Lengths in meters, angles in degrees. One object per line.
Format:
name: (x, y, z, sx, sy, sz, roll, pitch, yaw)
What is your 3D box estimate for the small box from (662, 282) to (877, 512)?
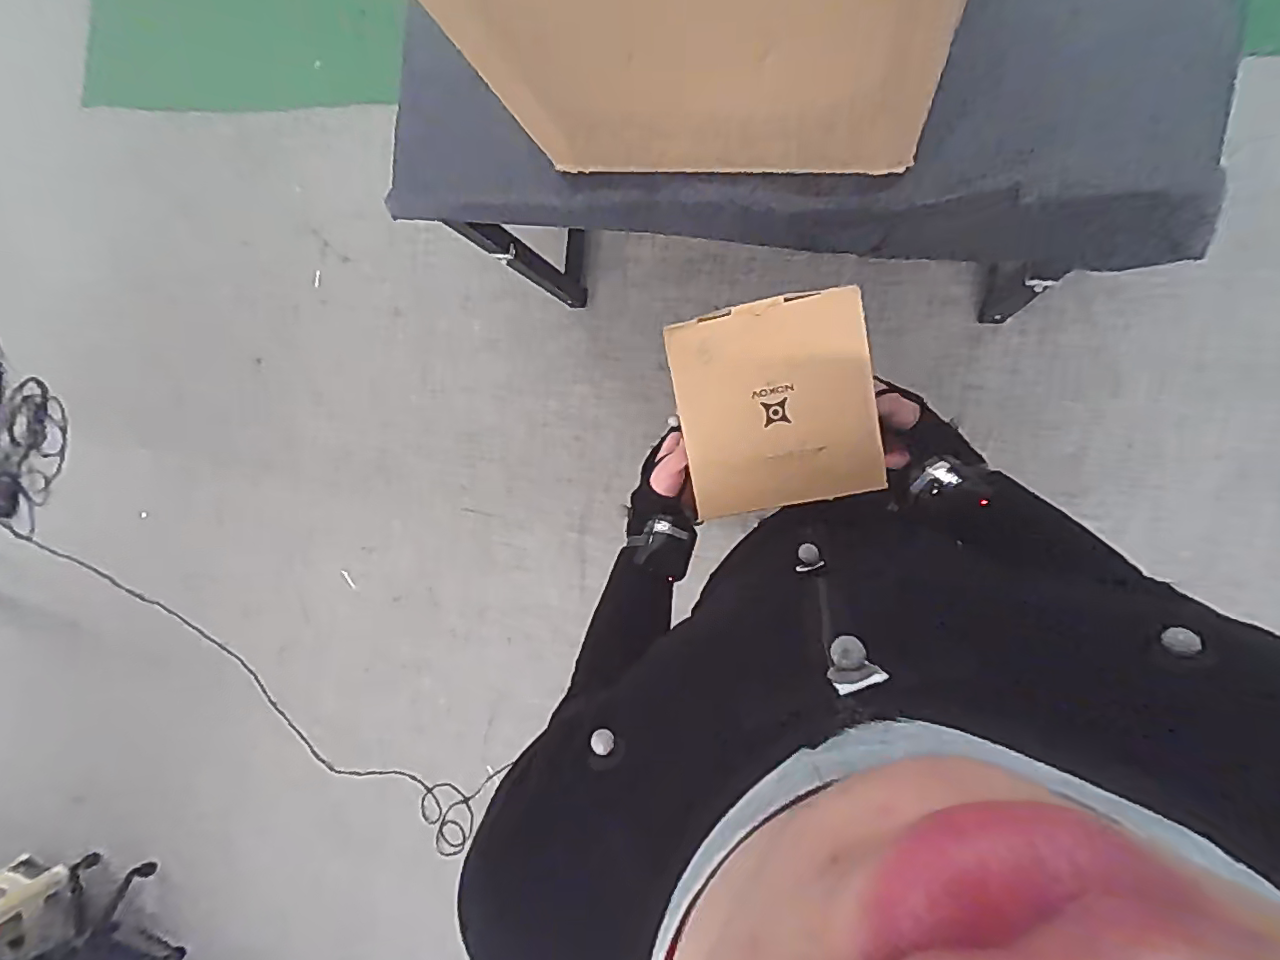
small box: (0.122, -0.081, 0.543, 0.168, 0.176, 0.179, -10, 101, 10)
